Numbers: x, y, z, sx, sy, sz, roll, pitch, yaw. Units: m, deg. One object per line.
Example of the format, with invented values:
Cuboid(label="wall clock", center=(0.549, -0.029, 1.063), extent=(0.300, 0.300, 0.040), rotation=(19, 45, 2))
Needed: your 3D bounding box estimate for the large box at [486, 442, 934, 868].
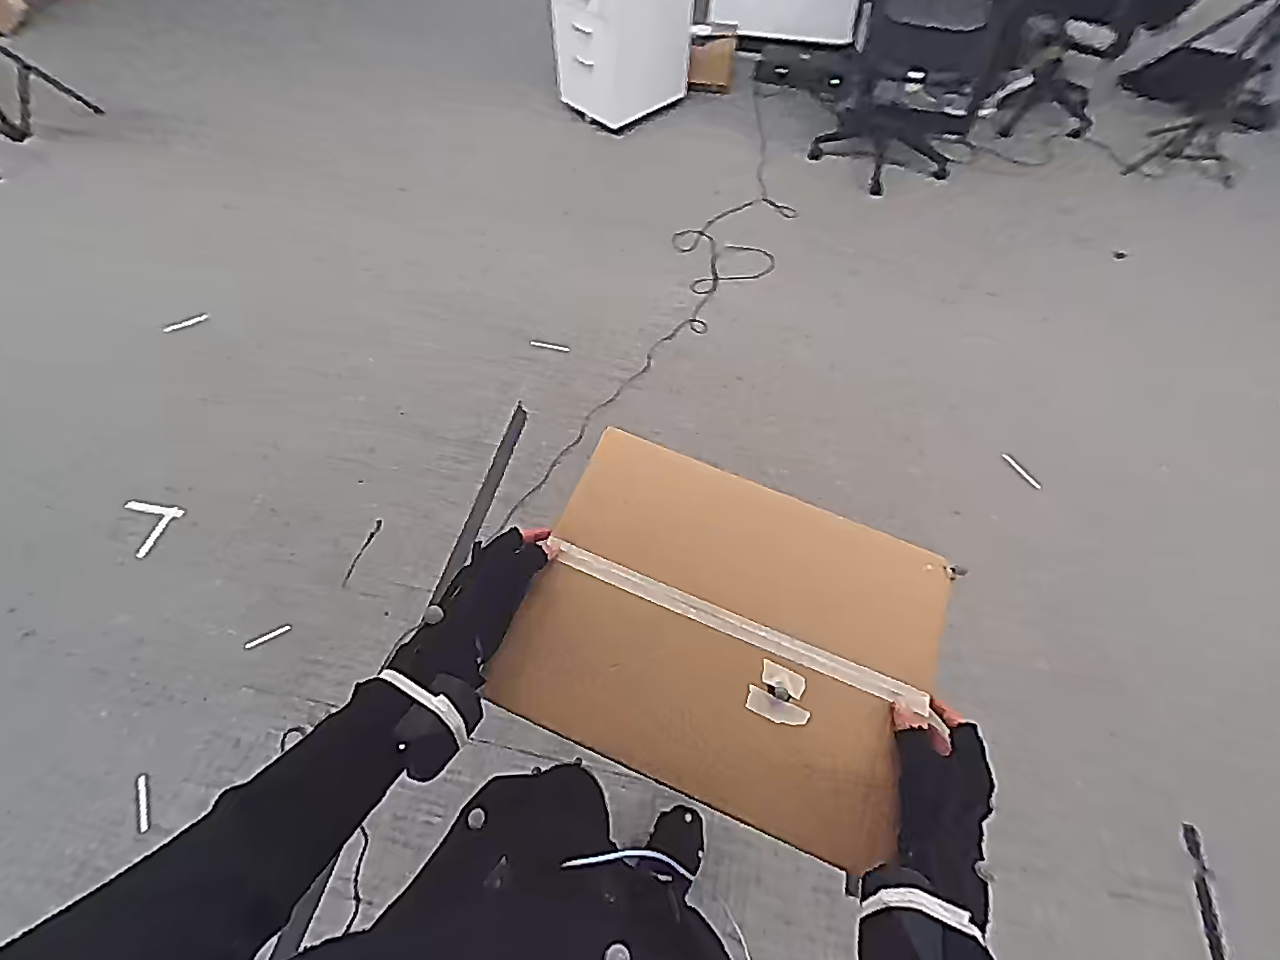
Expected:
Cuboid(label="large box", center=(0.078, 0.209, 0.694), extent=(0.408, 0.320, 0.320), rotation=(22, 68, 6))
